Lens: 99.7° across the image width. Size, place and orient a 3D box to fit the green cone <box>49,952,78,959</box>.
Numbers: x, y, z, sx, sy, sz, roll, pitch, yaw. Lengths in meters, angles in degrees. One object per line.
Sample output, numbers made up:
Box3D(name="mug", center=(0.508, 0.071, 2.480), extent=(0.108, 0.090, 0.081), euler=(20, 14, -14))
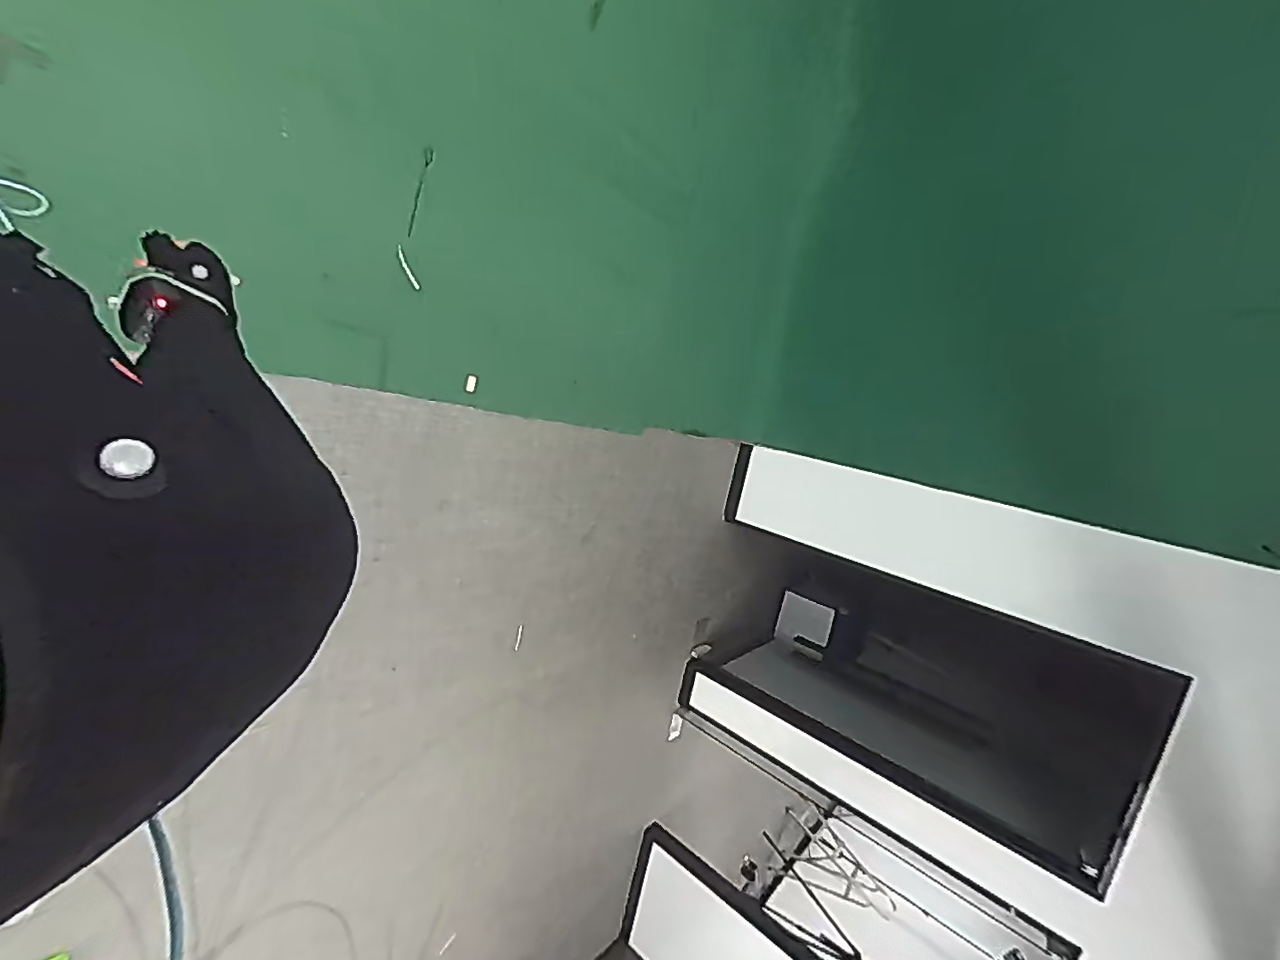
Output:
Box3D(name="green cone", center=(-1.295, 1.249, 1.120), extent=(0.202, 0.368, 0.200), euler=(1, 104, -50))
